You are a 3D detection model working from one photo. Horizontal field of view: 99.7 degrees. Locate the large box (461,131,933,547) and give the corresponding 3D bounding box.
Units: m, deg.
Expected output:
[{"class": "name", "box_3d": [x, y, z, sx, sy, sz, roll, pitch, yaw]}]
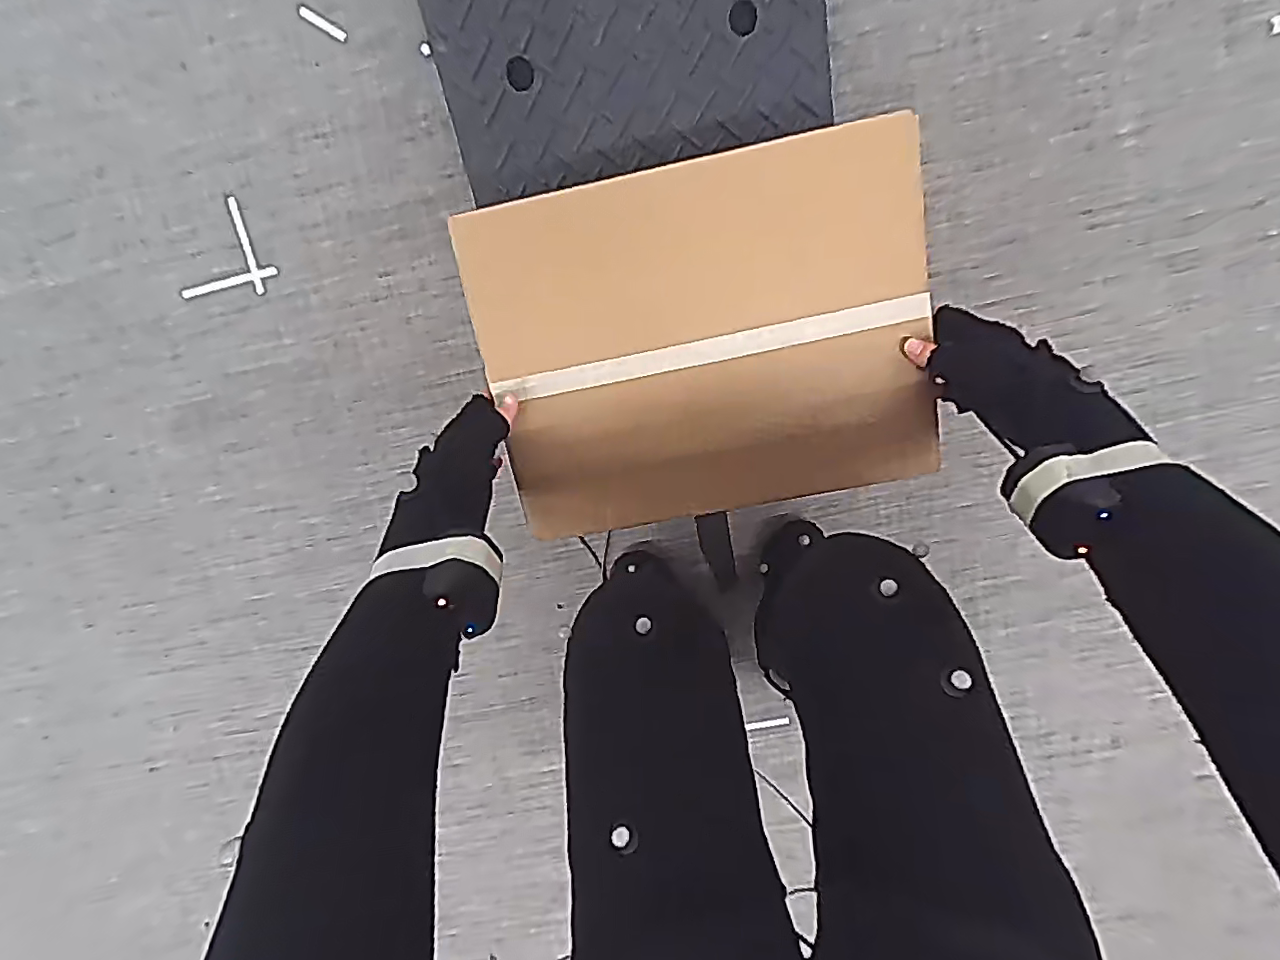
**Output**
[{"class": "large box", "box_3d": [0.067, -0.149, 0.647, 0.408, 0.320, 0.320, -10, 103, 5]}]
